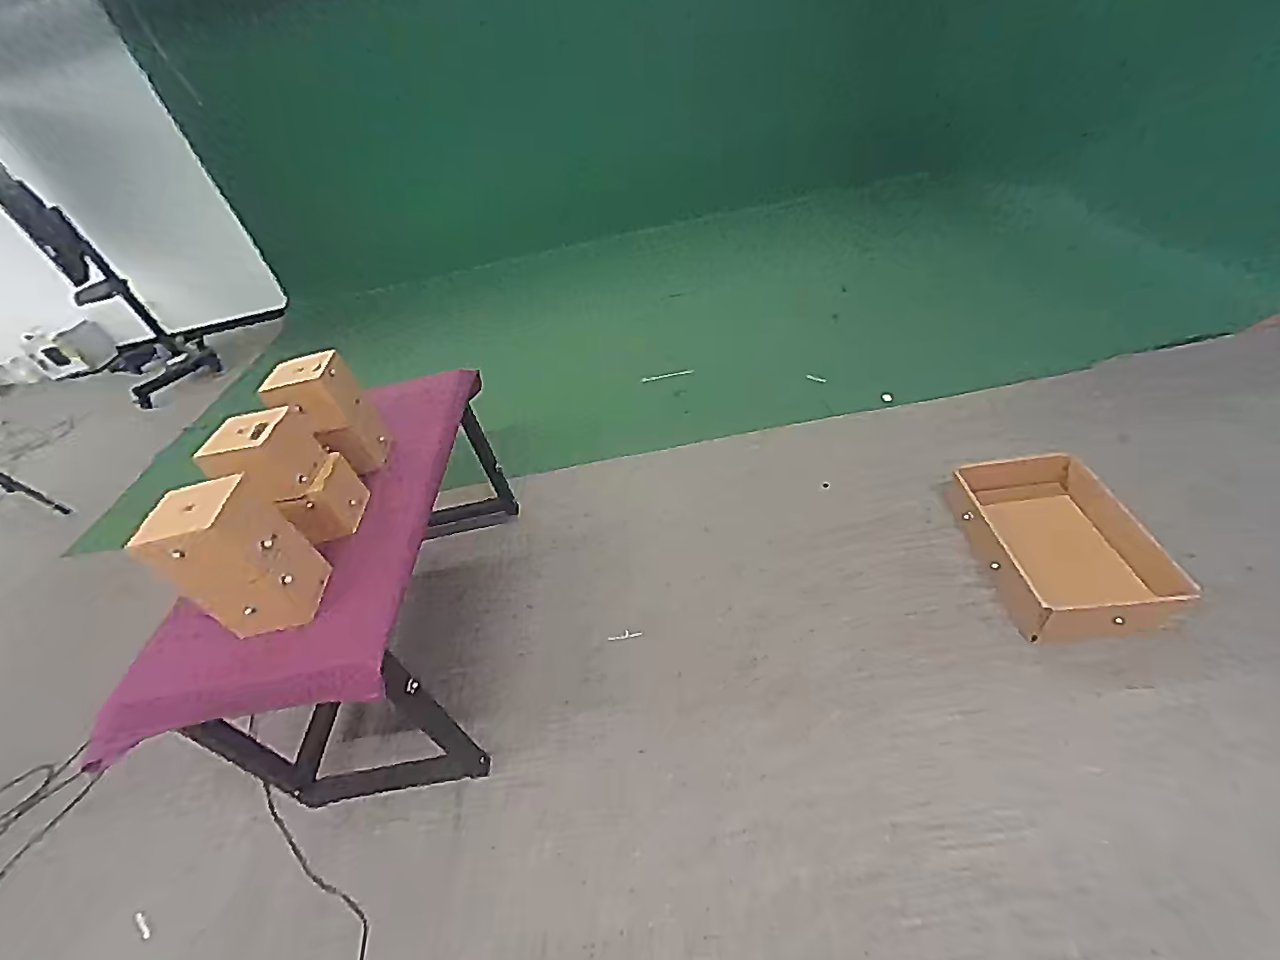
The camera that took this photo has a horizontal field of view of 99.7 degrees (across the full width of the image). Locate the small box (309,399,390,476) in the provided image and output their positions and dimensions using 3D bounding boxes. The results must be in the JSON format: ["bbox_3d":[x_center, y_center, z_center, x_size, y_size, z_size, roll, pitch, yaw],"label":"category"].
[{"bbox_3d":[-0.901,-0.118,1.652,0.179,0.176,0.168,-13,41,1],"label":"small box"}]

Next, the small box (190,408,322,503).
[{"bbox_3d":[-0.936,-0.054,1.343,0.179,0.176,0.168,-10,41,5],"label":"small box"}]

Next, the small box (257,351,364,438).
[{"bbox_3d":[-0.932,-0.238,1.545,0.179,0.176,0.168,-14,42,1],"label":"small box"}]

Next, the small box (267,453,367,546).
[{"bbox_3d":[-0.877,0.057,1.454,0.179,0.176,0.168,-12,41,2],"label":"small box"}]

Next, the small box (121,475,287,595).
[{"bbox_3d":[-0.898,0.119,1.135,0.179,0.176,0.168,-13,41,1],"label":"small box"}]
